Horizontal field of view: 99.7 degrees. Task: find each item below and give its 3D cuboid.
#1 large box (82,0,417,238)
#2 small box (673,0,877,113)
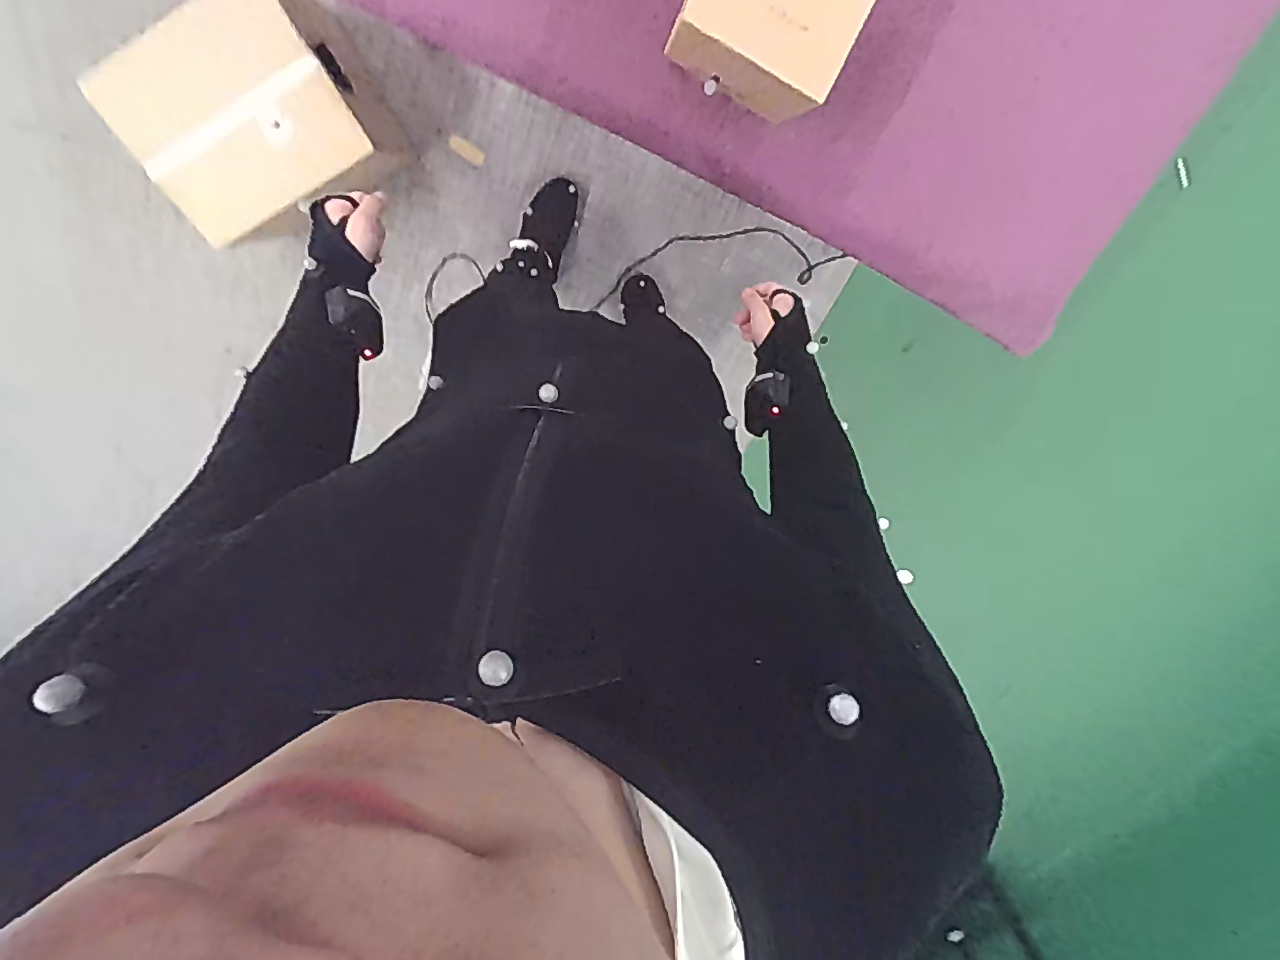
[{"bbox_3d":[-0.757,-0.756,1.119,0.408,0.320,0.320,-25,119,9],"label":"large box"},{"bbox_3d":[0.145,-0.518,0.556,0.168,0.176,0.179,21,115,-14],"label":"small box"}]
